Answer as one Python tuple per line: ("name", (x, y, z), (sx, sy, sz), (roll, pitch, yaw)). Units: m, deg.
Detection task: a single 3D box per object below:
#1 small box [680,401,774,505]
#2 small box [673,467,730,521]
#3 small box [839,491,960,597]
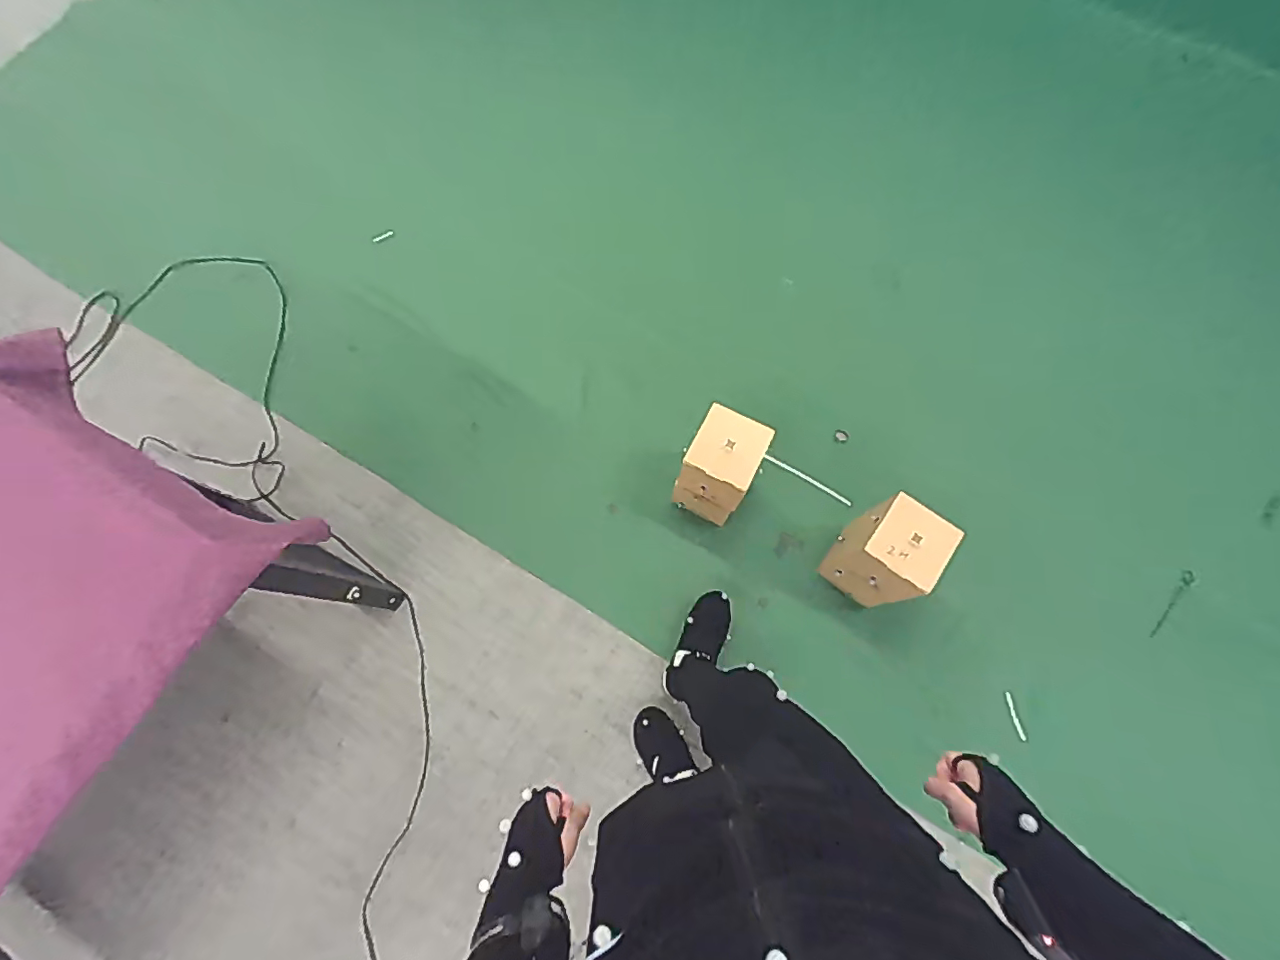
("small box", (0.209, -0.061, 1.356), (0.168, 0.176, 0.179), (27, 74, 7))
("small box", (0.200, -0.007, 1.509), (0.168, 0.176, 0.179), (28, 73, 8))
("small box", (0.607, 0.158, 1.289), (0.168, 0.176, 0.179), (37, 76, 10))
